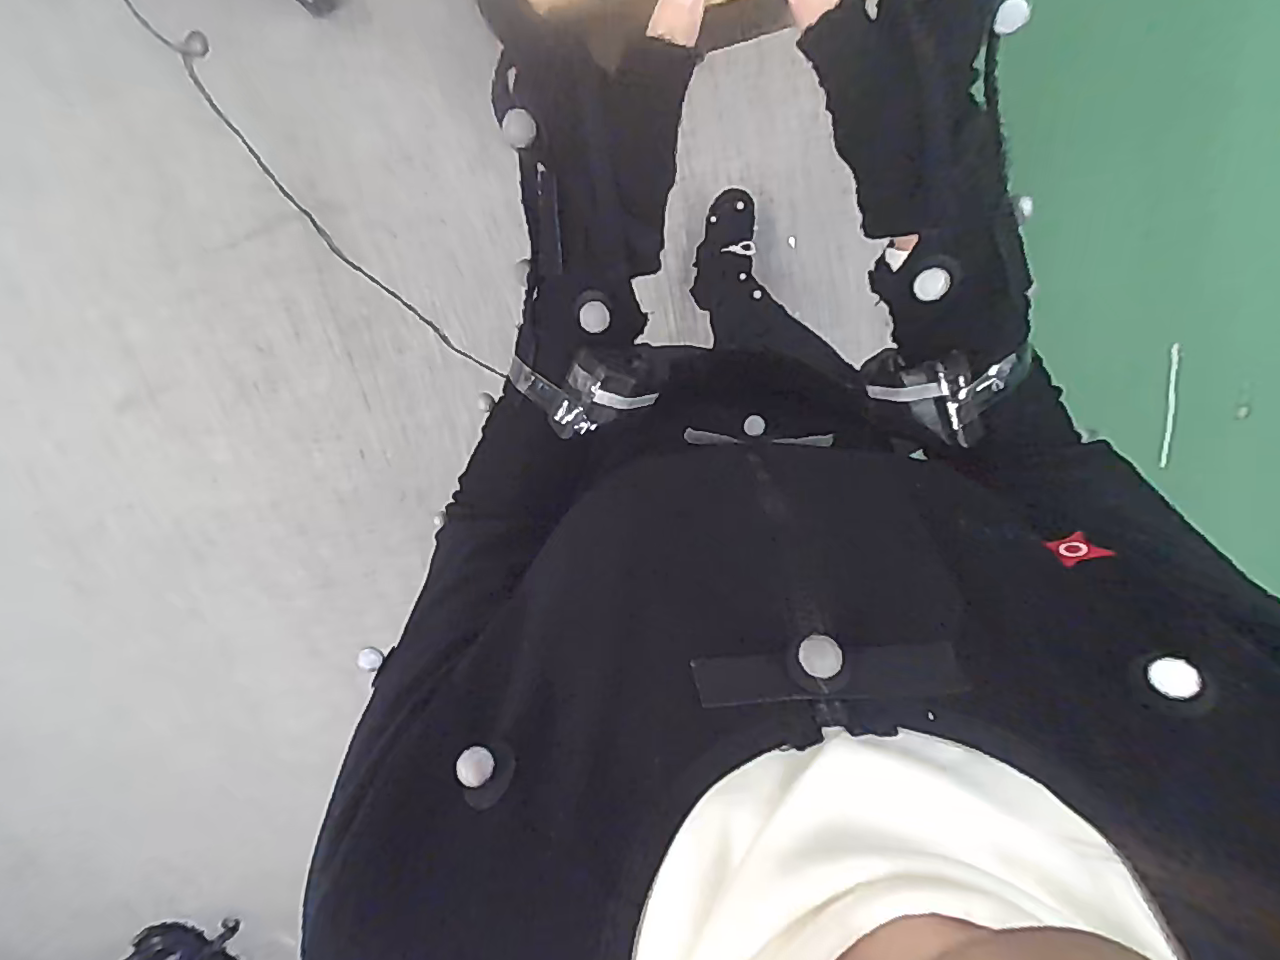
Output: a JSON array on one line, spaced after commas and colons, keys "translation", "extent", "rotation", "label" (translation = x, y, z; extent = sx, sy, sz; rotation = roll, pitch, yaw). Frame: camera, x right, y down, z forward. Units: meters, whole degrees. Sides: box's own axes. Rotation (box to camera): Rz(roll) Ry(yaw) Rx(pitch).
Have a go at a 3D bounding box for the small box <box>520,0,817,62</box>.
[{"translation": [0.015, -0.321, 0.242], "extent": [0.168, 0.176, 0.179], "rotation": [-10, 115, 8], "label": "small box"}]
